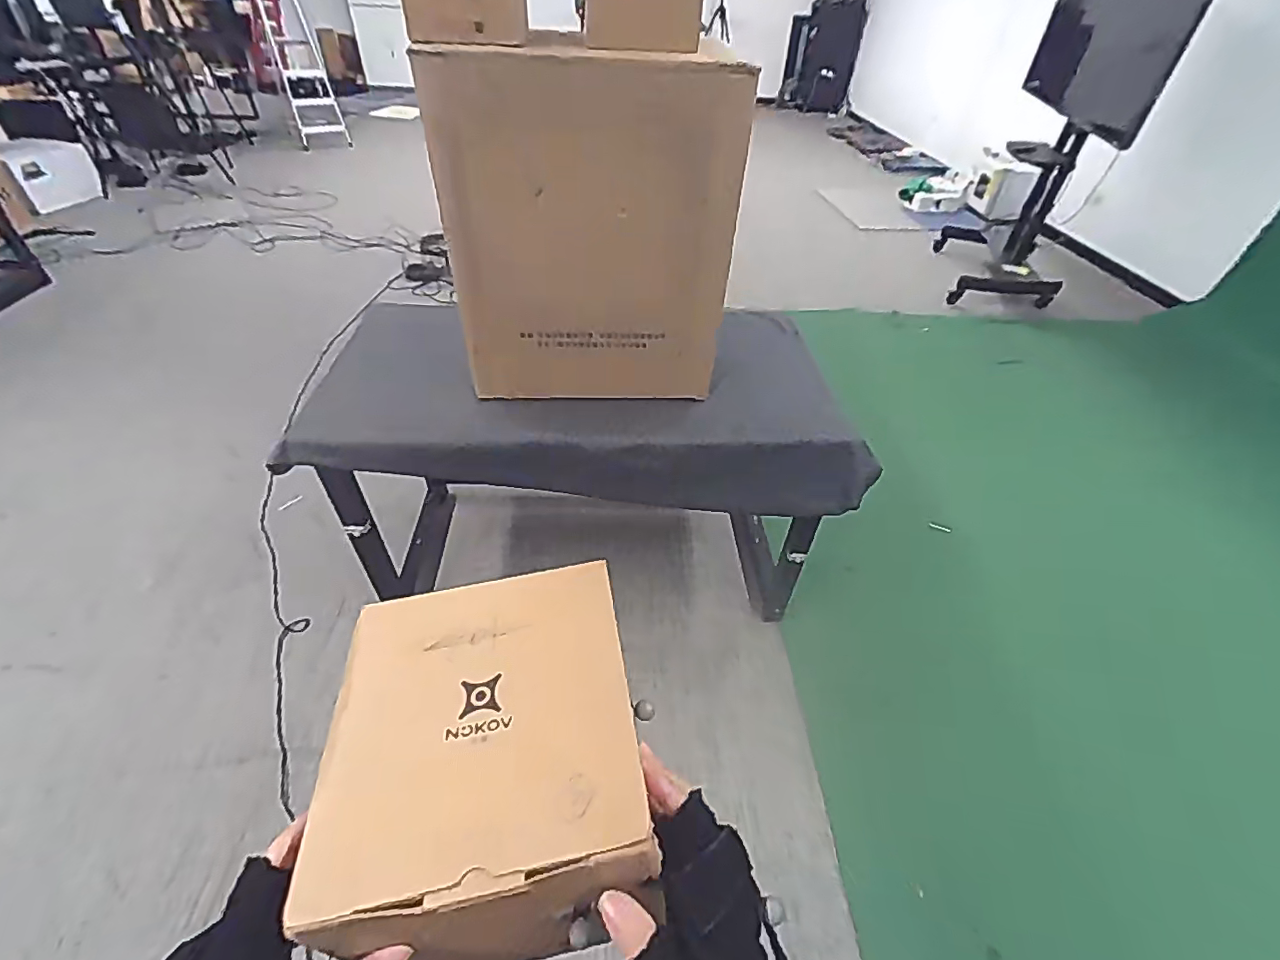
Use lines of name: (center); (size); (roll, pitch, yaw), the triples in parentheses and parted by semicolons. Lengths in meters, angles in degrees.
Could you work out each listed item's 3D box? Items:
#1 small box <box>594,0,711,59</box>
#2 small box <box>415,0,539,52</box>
small box: (0.019, -0.766, 0.834); (0.179, 0.176, 0.168); (0, 45, -4)
small box: (-0.245, -0.761, 0.811); (0.168, 0.176, 0.179); (-1, 46, -4)
